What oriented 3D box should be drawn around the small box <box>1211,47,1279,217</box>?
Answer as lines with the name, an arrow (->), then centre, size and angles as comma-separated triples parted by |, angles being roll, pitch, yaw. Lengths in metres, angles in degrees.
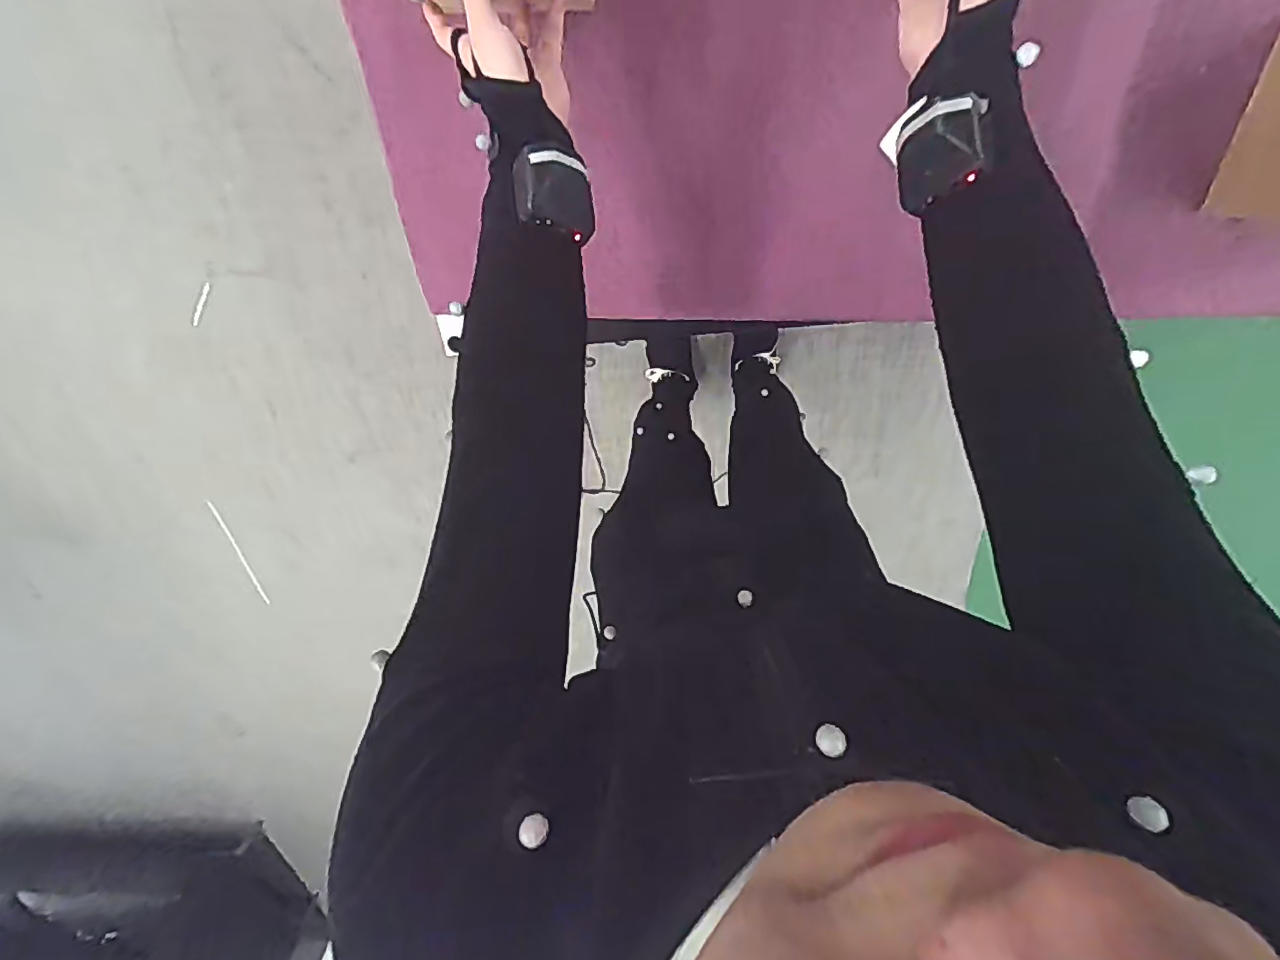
small box -> 0.687, -0.327, 0.476 | 0.168, 0.176, 0.179 | 2, 120, 4
